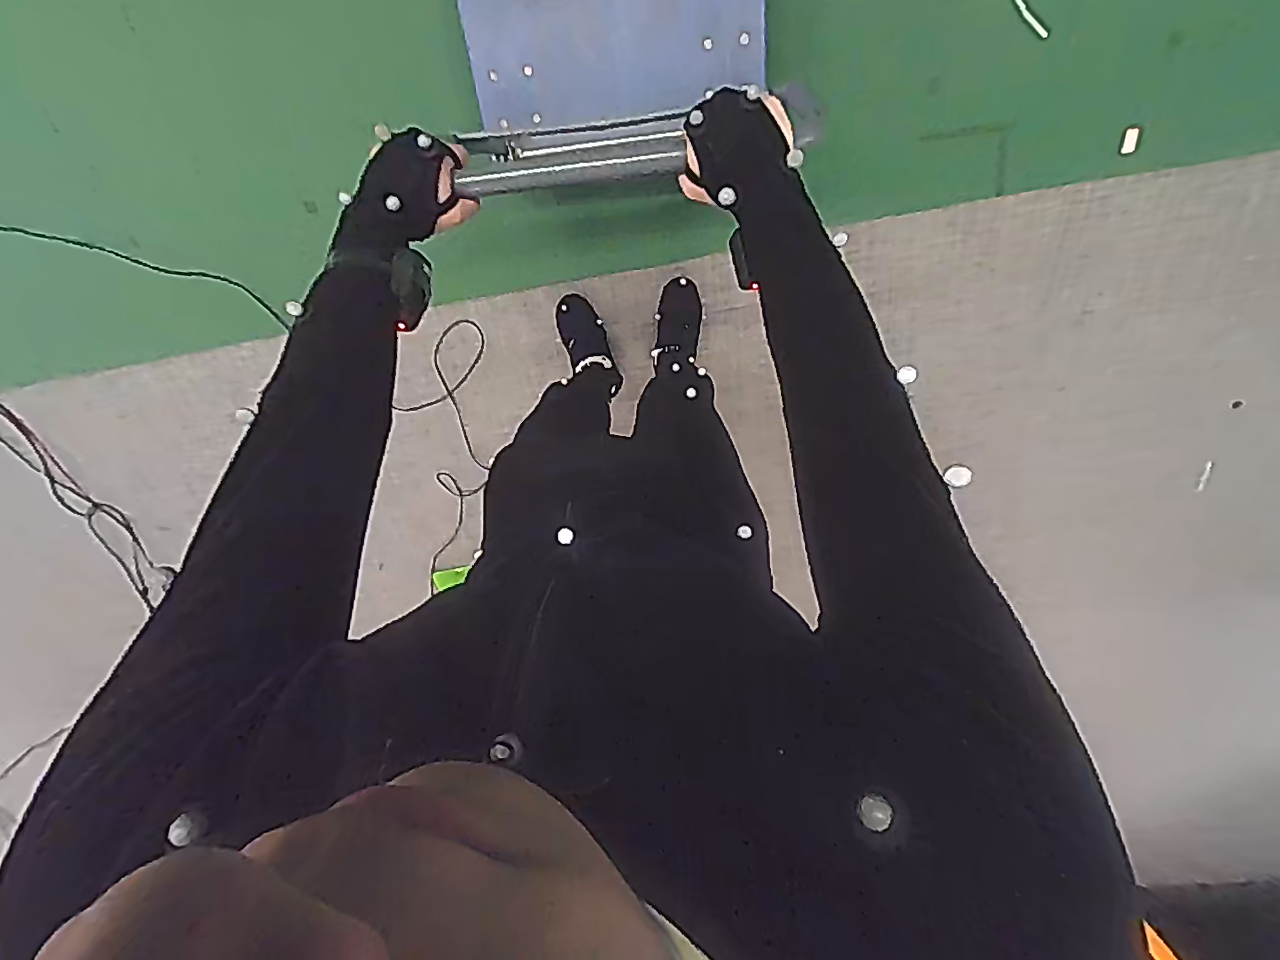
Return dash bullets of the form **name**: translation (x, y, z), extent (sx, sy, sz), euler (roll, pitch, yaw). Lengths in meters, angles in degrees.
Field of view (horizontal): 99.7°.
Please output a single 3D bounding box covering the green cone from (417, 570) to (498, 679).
- **green cone**: translation (-0.630, 0.487, 1.760), extent (0.202, 0.368, 0.200), euler (-11, 117, 10)
